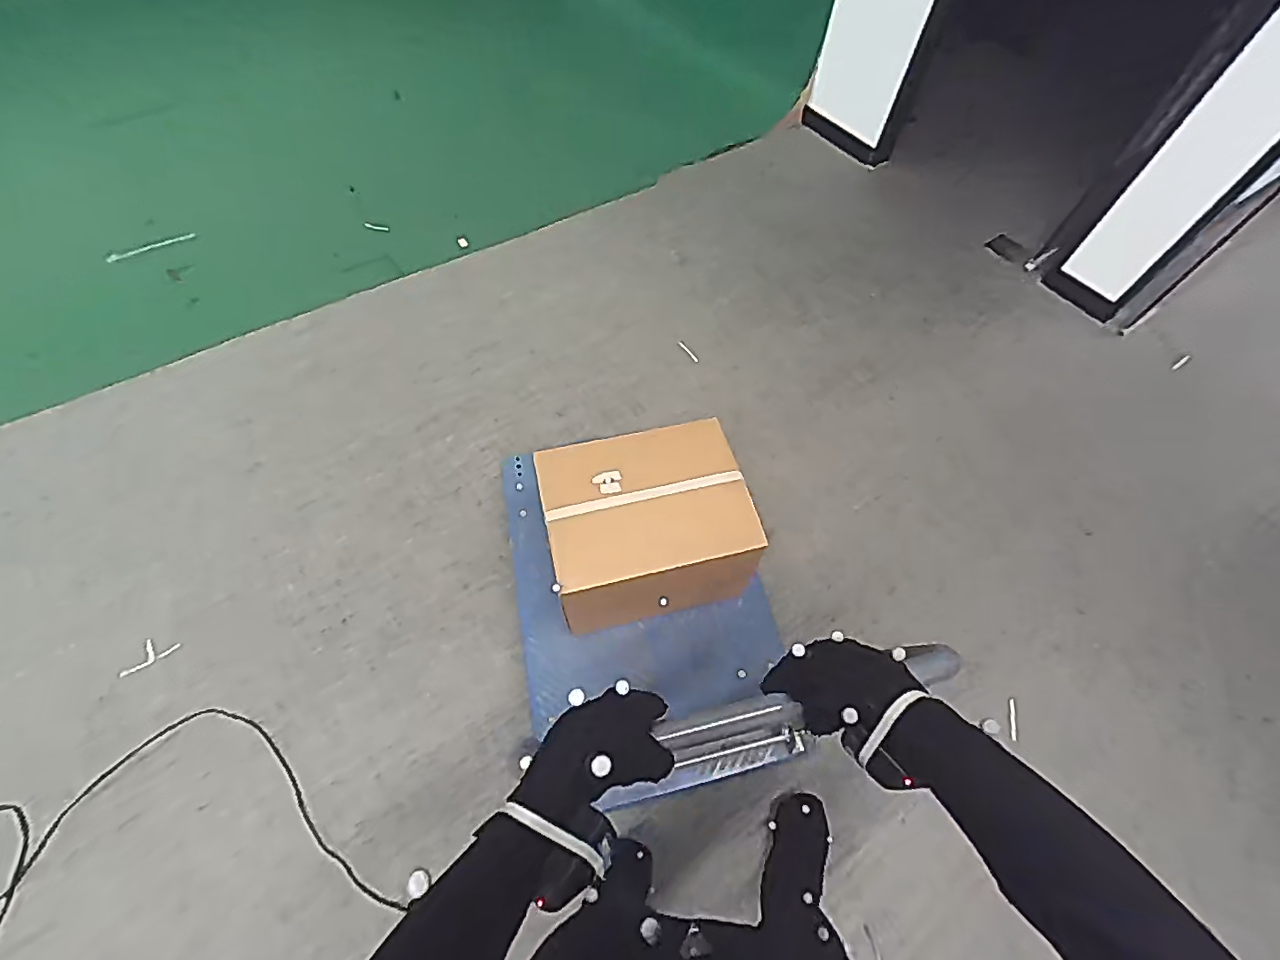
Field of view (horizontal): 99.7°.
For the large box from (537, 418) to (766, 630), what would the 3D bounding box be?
[{"bbox_3d":[0.013,0.107,1.210,0.408,0.320,0.320,-13,61,-9],"label":"large box"}]
